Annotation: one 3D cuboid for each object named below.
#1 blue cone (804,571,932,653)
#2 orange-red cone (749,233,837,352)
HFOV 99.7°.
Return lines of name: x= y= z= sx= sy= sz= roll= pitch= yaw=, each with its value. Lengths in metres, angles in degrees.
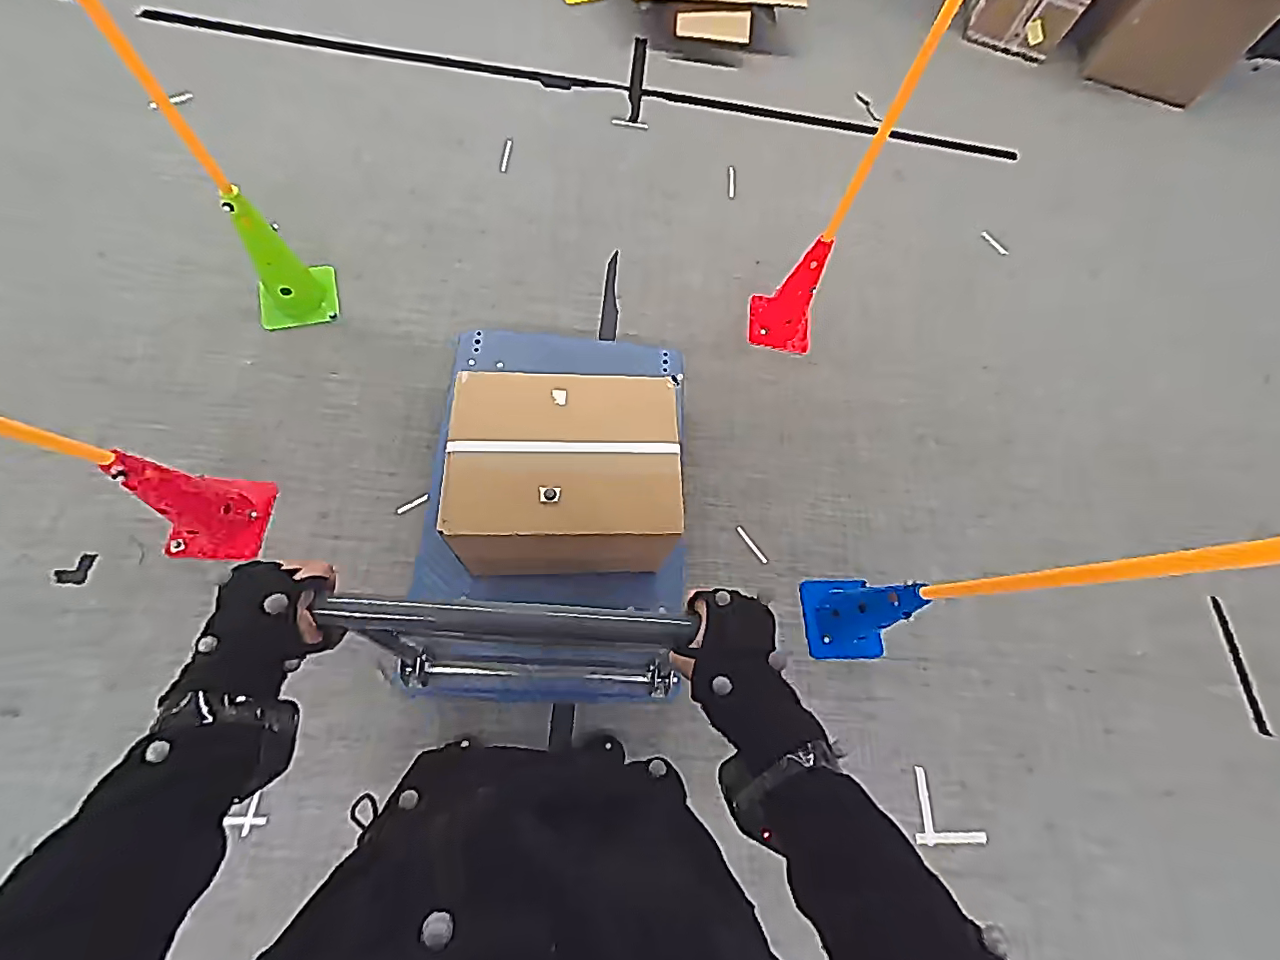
blue cone: x=0.546 y=0.282 z=1.245 sx=0.193 sy=0.380 sz=0.192 roll=2 pitch=67 yaw=-7
orange-red cone: x=0.474 y=-0.567 z=1.567 sx=0.199 sy=0.360 sz=0.198 roll=12 pitch=67 yaw=-4
